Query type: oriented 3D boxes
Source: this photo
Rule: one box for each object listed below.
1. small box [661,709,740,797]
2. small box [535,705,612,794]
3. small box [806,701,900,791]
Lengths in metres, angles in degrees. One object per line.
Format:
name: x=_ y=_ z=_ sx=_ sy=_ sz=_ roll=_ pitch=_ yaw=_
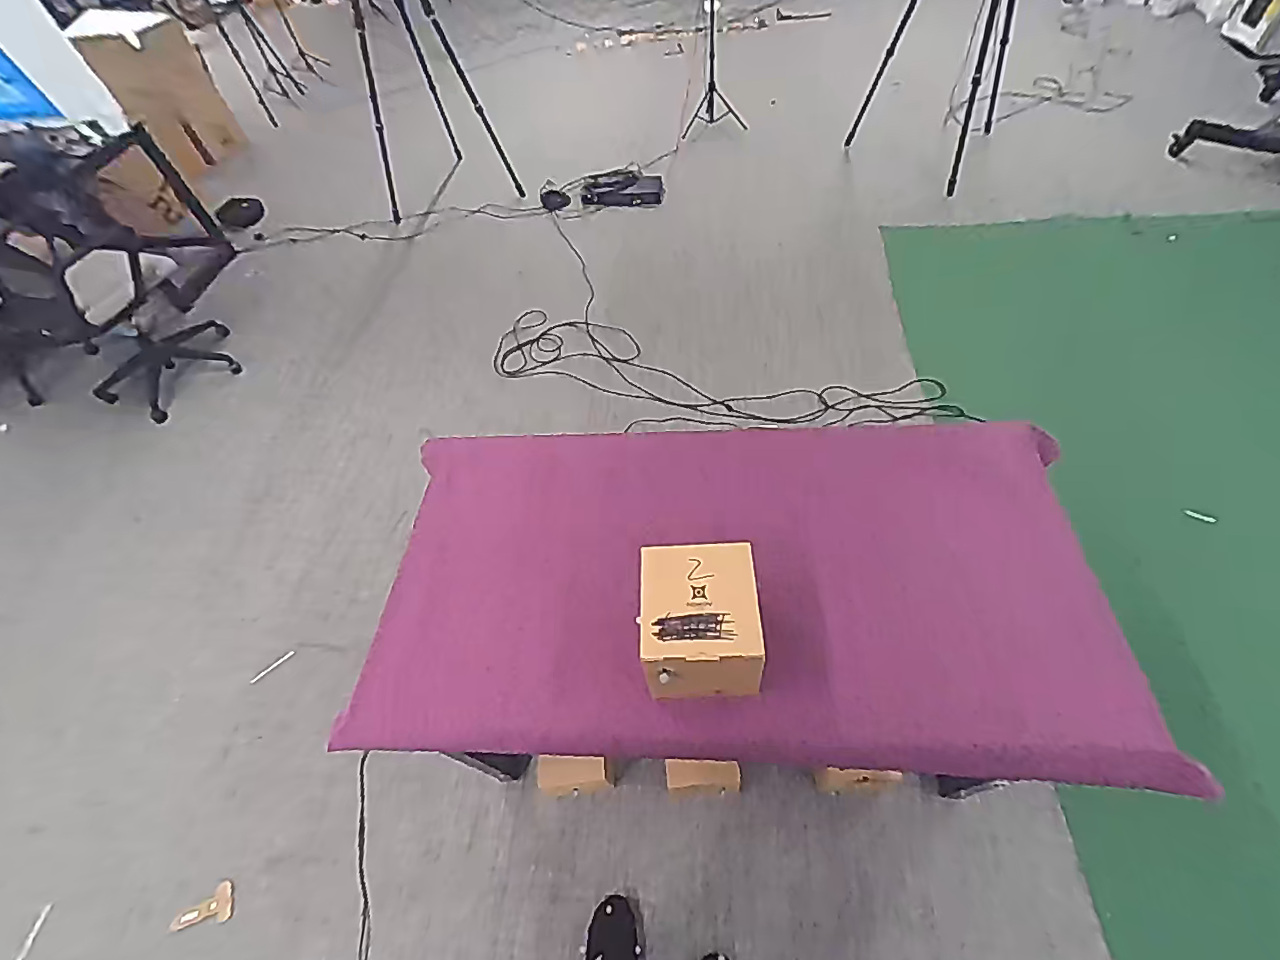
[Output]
small box: x=0.149 y=0.688 z=1.359 sx=0.179 sy=0.176 sz=0.168 roll=-6 pitch=52 yaw=3
small box: x=-0.167 y=0.697 z=1.389 sx=0.168 sy=0.176 sz=0.179 roll=-7 pitch=53 yaw=1
small box: x=0.516 y=0.660 z=1.334 sx=0.168 sy=0.176 sz=0.179 roll=-3 pitch=52 yaw=4
